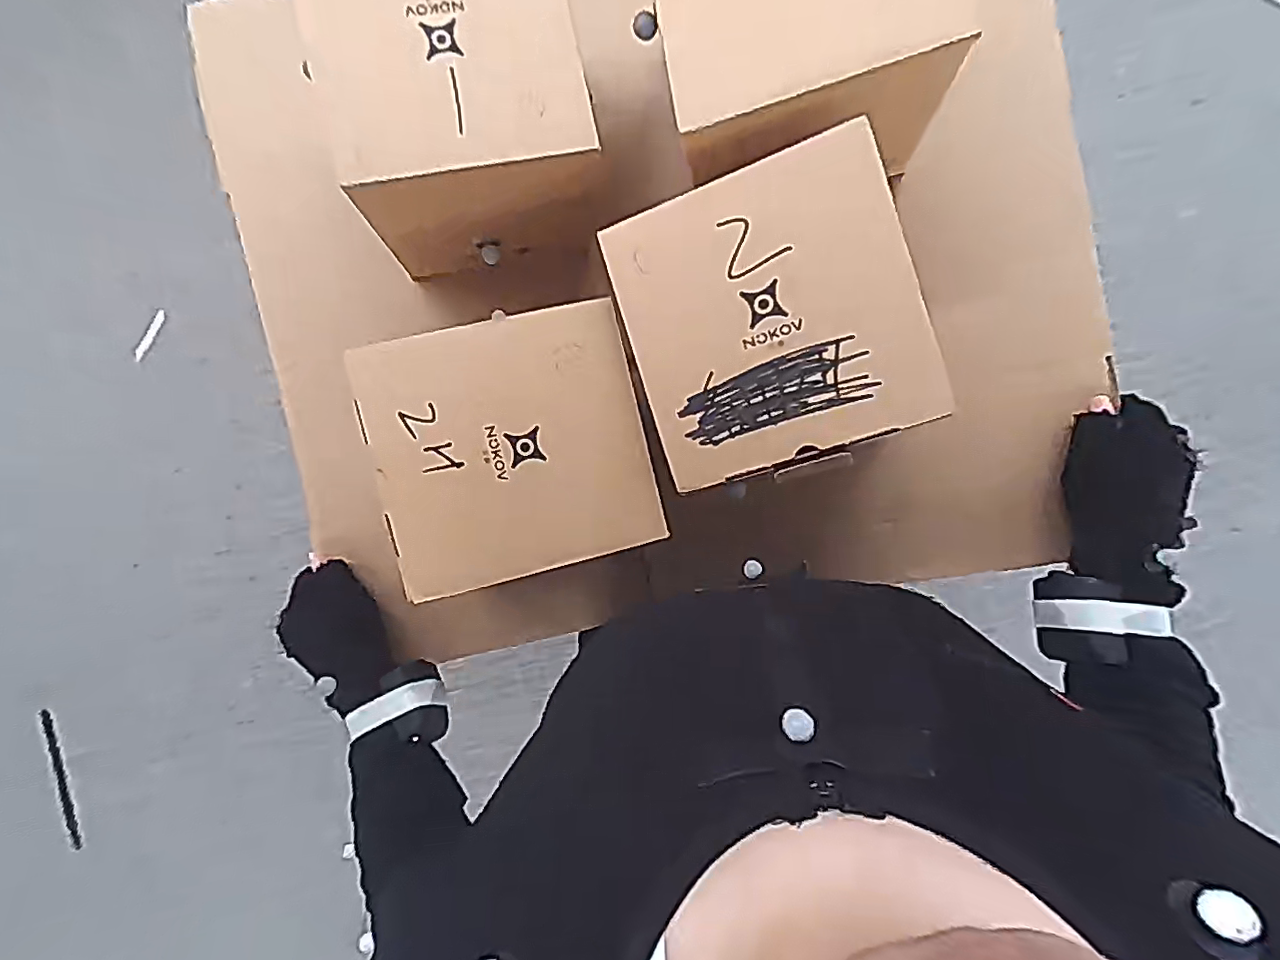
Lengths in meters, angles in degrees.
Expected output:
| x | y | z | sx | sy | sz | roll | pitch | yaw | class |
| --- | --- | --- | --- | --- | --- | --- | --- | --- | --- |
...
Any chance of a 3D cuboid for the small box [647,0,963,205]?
| x | y | z | sx | sy | sz | roll | pitch | yaw | class |
| --- | --- | --- | --- | --- | --- | --- | --- | --- | --- |
| 0.099 | -0.320 | 0.379 | 0.168 | 0.176 | 0.179 | -10 | 92 | 14 | small box |
